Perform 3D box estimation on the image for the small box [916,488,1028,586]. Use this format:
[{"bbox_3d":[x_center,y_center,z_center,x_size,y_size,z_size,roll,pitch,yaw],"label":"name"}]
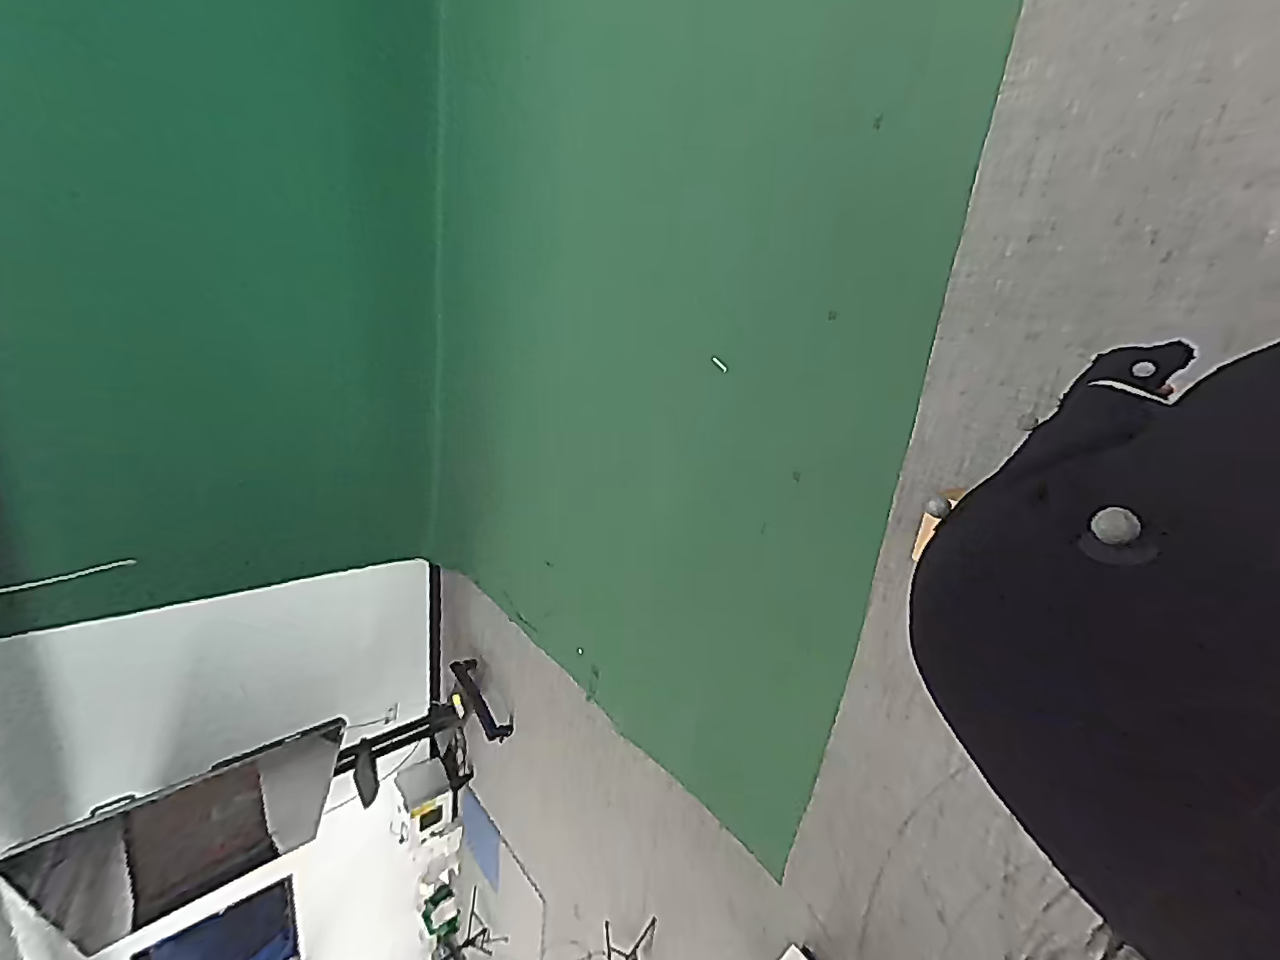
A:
[{"bbox_3d":[0.796,0.126,1.292,0.168,0.176,0.179,24,113,45],"label":"small box"}]
